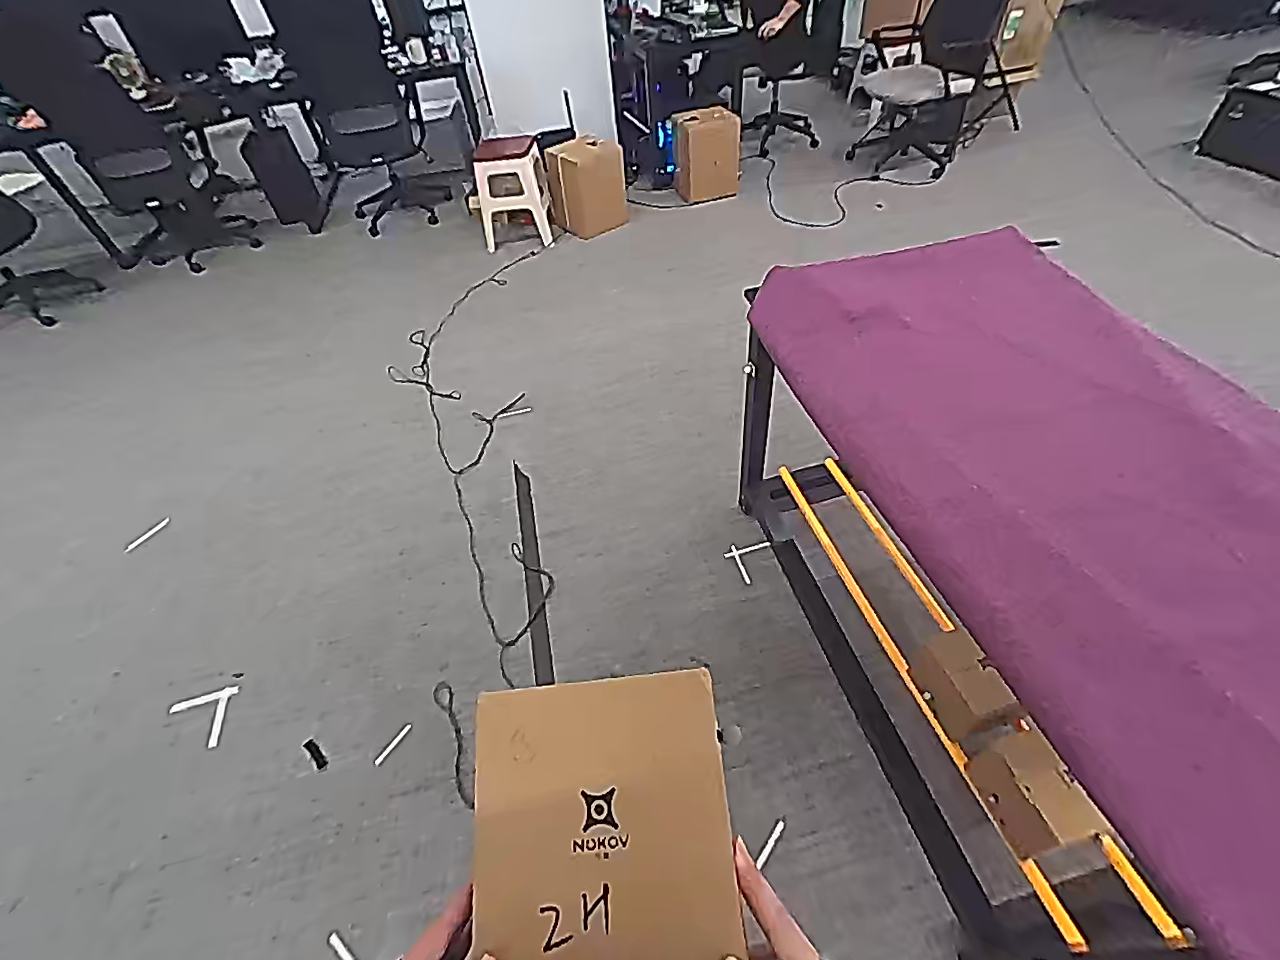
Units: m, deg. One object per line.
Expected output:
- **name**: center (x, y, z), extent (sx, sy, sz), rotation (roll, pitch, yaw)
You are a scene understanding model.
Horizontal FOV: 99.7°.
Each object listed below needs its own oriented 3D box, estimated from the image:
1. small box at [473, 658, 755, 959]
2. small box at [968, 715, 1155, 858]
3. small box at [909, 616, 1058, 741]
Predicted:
- **small box**: center (-0.013, 0.242, 0.412), extent (0.168, 0.176, 0.179), rotation (-8, 66, 5)
- **small box**: center (0.745, 0.558, 0.981), extent (0.179, 0.176, 0.168), rotation (-16, 47, -5)
- **small box**: center (0.696, 0.413, 1.121), extent (0.179, 0.176, 0.168), rotation (-16, 47, -4)
